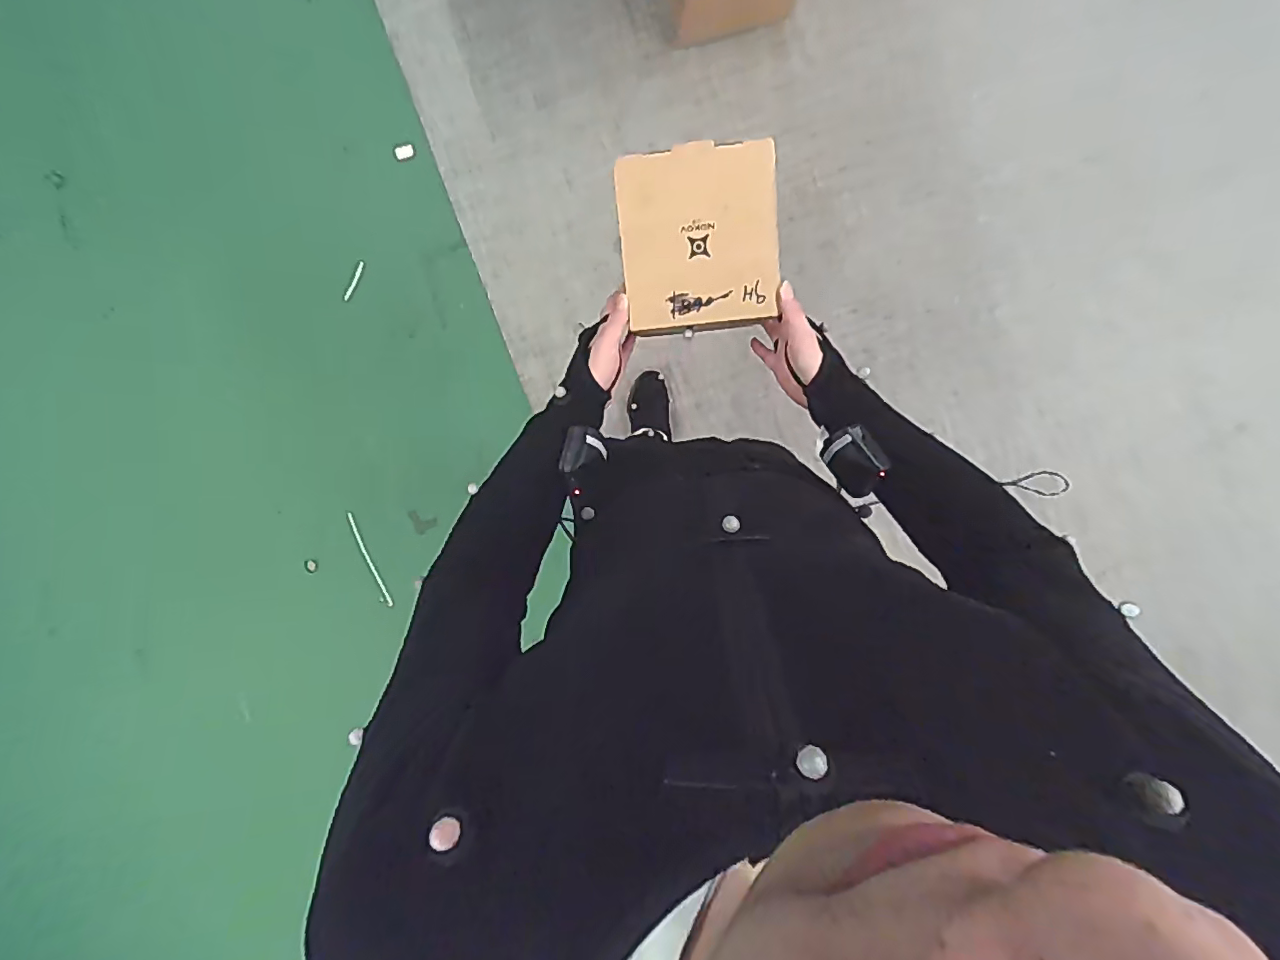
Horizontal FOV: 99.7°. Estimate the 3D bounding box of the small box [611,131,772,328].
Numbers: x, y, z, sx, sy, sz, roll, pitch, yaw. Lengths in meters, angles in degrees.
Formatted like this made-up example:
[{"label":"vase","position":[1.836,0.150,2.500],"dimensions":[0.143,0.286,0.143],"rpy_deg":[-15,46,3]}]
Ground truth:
[{"label":"small box","position":[0.061,-0.282,0.649],"dimensions":[0.168,0.176,0.179],"rpy_deg":[-4,104,6]}]
